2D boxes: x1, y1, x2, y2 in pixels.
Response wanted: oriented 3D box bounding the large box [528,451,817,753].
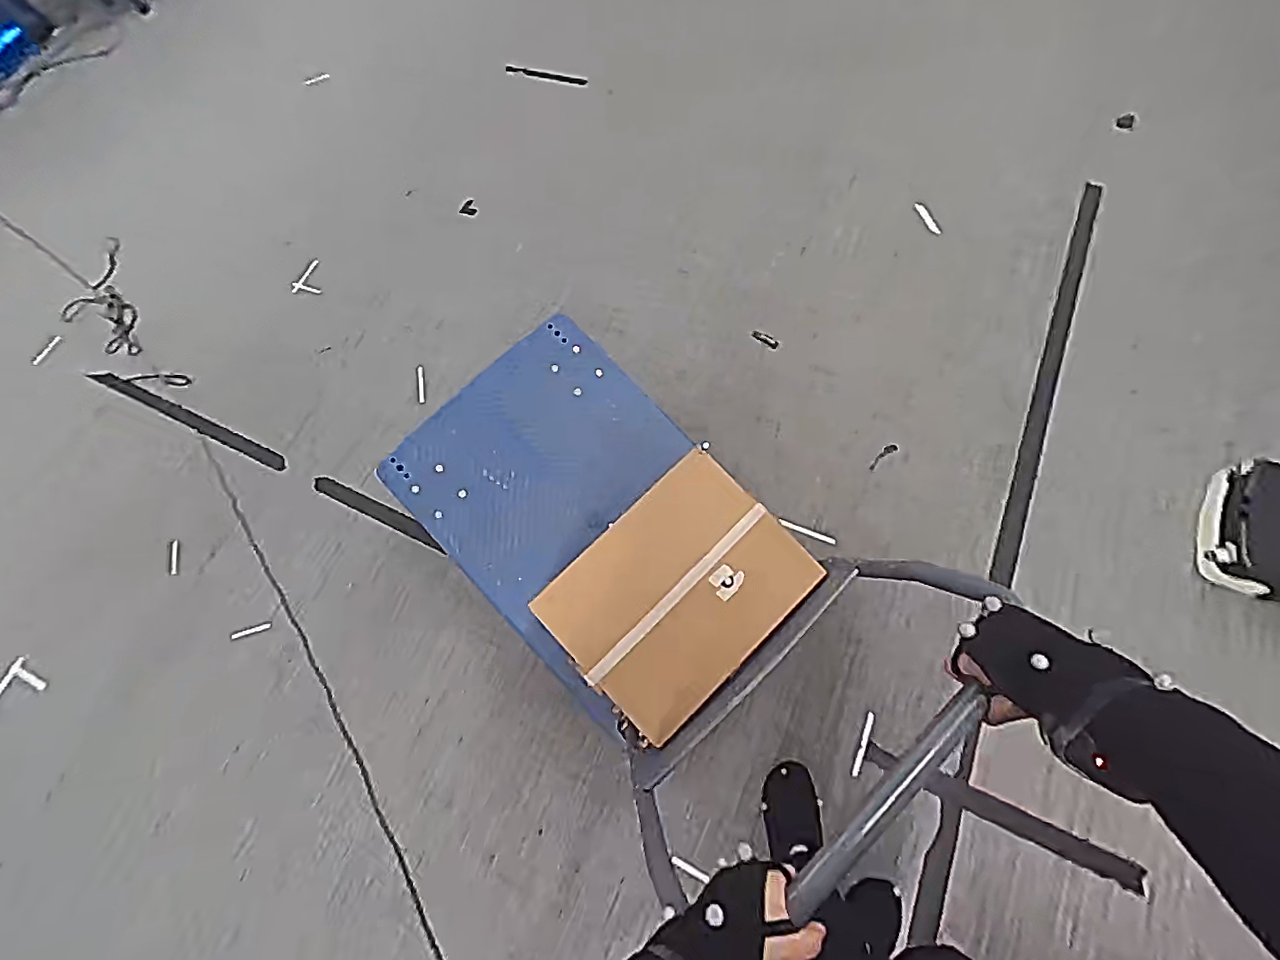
[{"bbox_3d":[0.051,0.220,1.041,0.408,0.320,0.320,-44,84,-10],"label":"large box"}]
